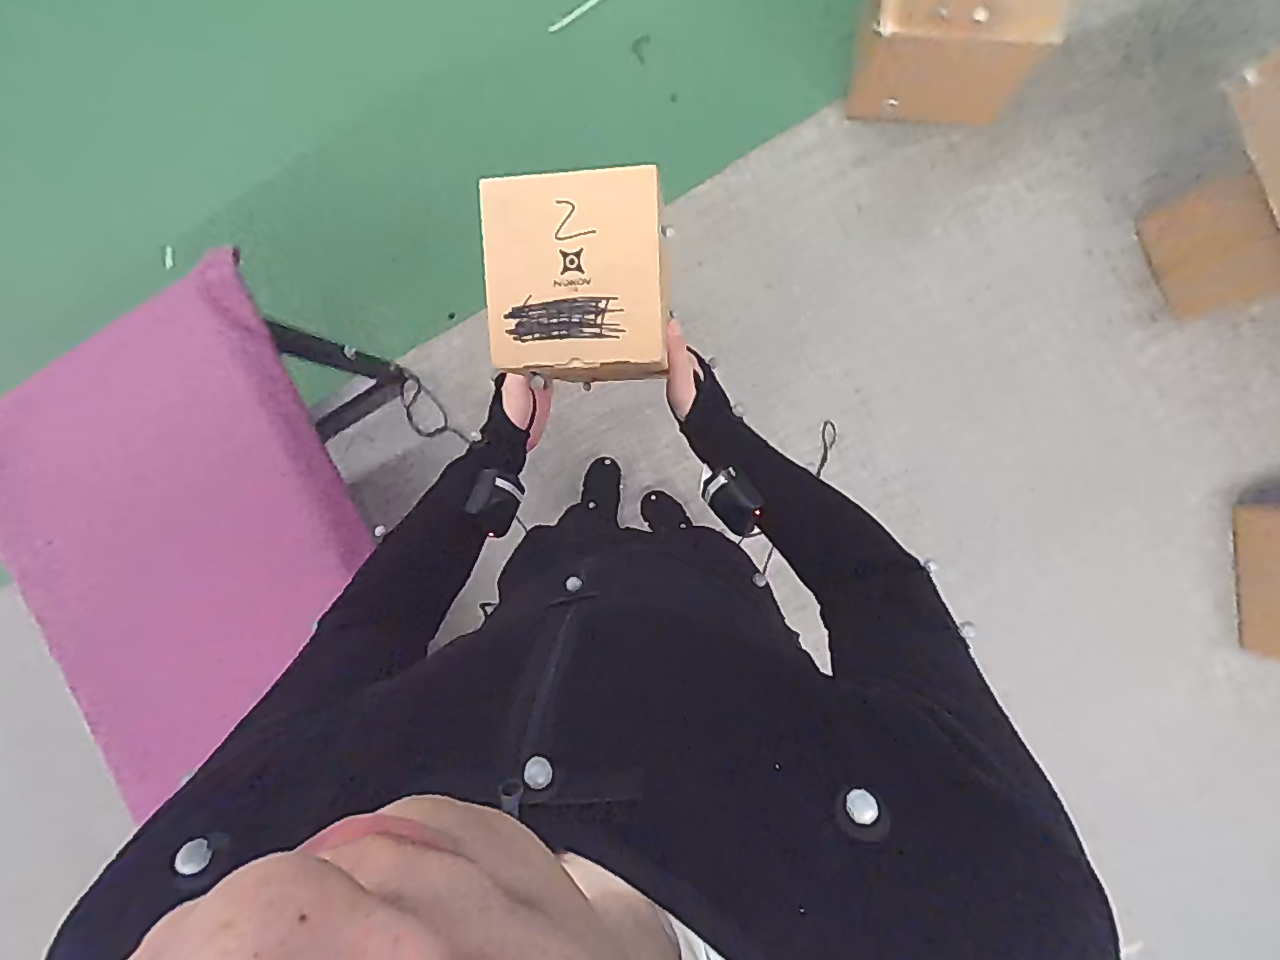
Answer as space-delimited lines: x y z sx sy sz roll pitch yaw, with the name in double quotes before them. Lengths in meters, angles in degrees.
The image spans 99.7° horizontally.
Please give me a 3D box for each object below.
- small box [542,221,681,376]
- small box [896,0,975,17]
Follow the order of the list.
"small box" -0.029 -0.234 0.739 0.168 0.176 0.179 0 98 6
"small box" 0.669 -1.153 1.157 0.168 0.176 0.179 7 93 5
